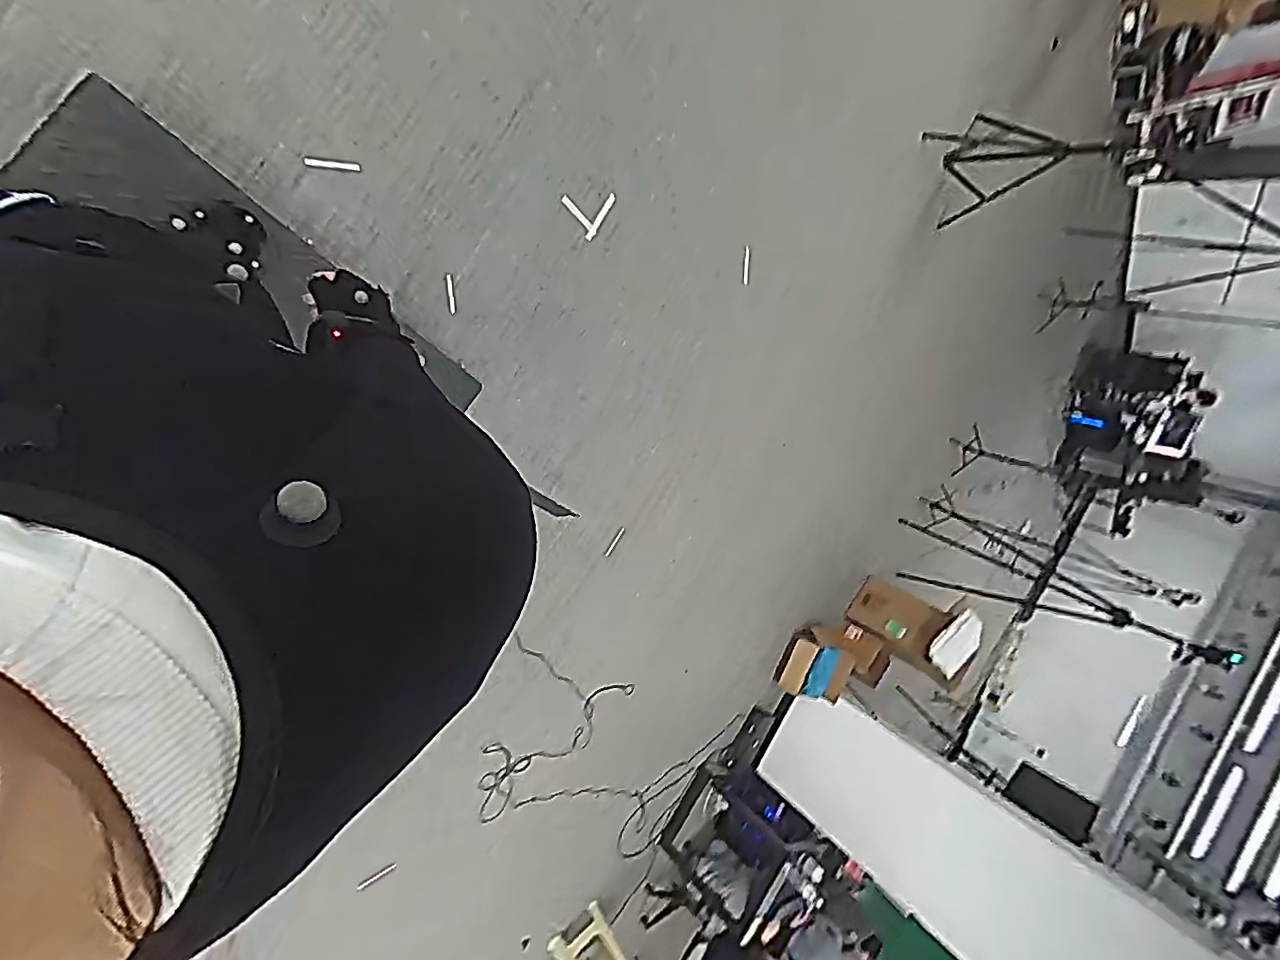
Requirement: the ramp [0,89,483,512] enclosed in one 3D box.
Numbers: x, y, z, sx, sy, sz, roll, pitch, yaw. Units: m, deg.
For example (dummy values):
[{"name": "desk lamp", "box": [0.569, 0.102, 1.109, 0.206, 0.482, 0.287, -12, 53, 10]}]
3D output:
[{"name": "ramp", "box": [-0.838, -0.285, 1.298, 0.991, 0.206, 0.509, 35, 82, -46]}]
